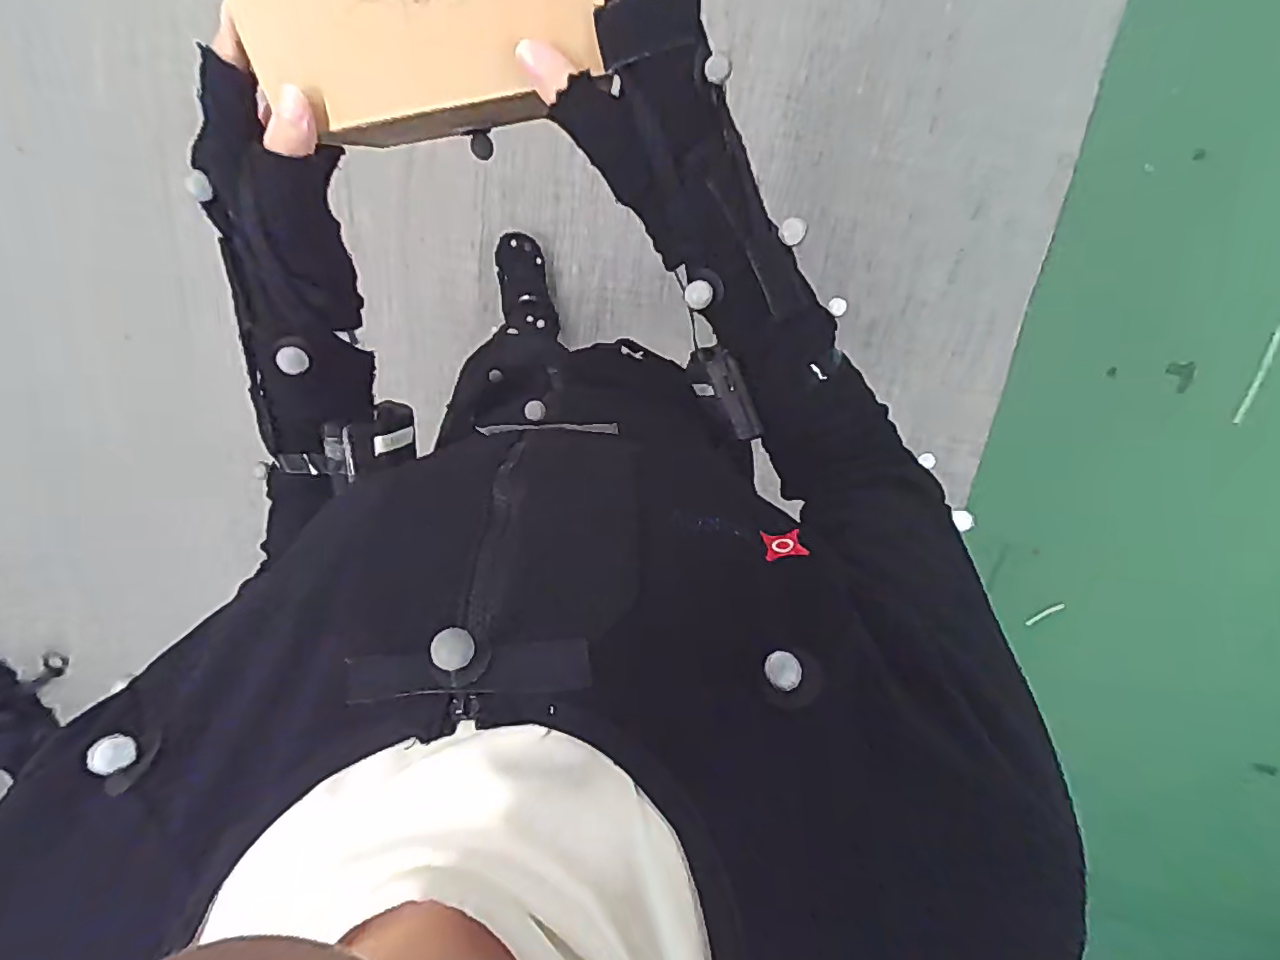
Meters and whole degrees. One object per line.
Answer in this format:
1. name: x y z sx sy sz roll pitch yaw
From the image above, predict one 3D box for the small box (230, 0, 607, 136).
1. small box: -0.114 -0.302 0.290 0.168 0.176 0.179 -9 121 2
